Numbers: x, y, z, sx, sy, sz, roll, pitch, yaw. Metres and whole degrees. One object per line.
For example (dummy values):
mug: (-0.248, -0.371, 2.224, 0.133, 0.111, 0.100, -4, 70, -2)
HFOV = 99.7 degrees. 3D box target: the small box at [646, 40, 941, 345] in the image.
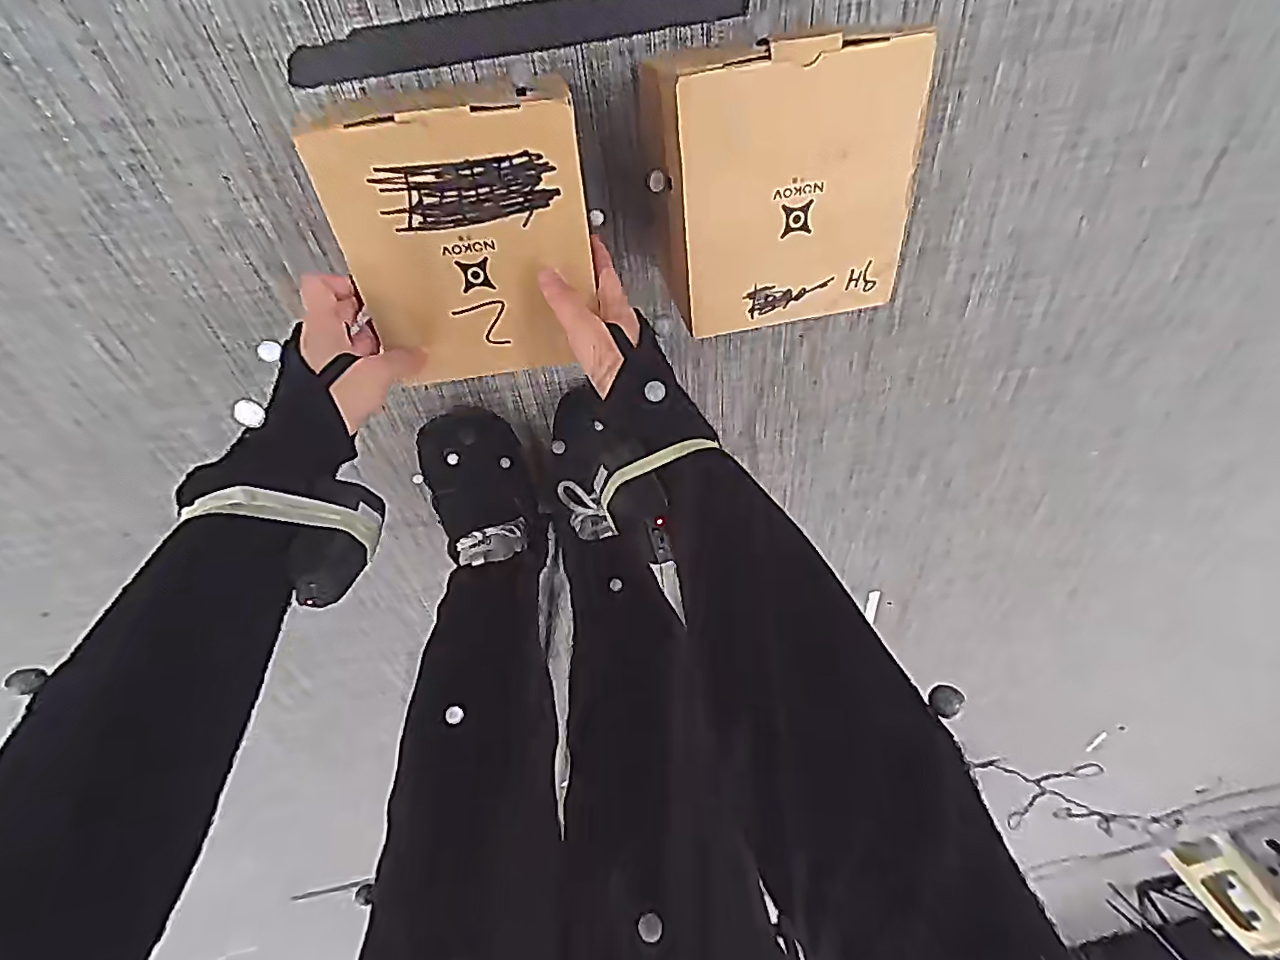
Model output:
small box: (0.103, -0.237, 0.443, 0.168, 0.176, 0.179, -11, 130, -2)
